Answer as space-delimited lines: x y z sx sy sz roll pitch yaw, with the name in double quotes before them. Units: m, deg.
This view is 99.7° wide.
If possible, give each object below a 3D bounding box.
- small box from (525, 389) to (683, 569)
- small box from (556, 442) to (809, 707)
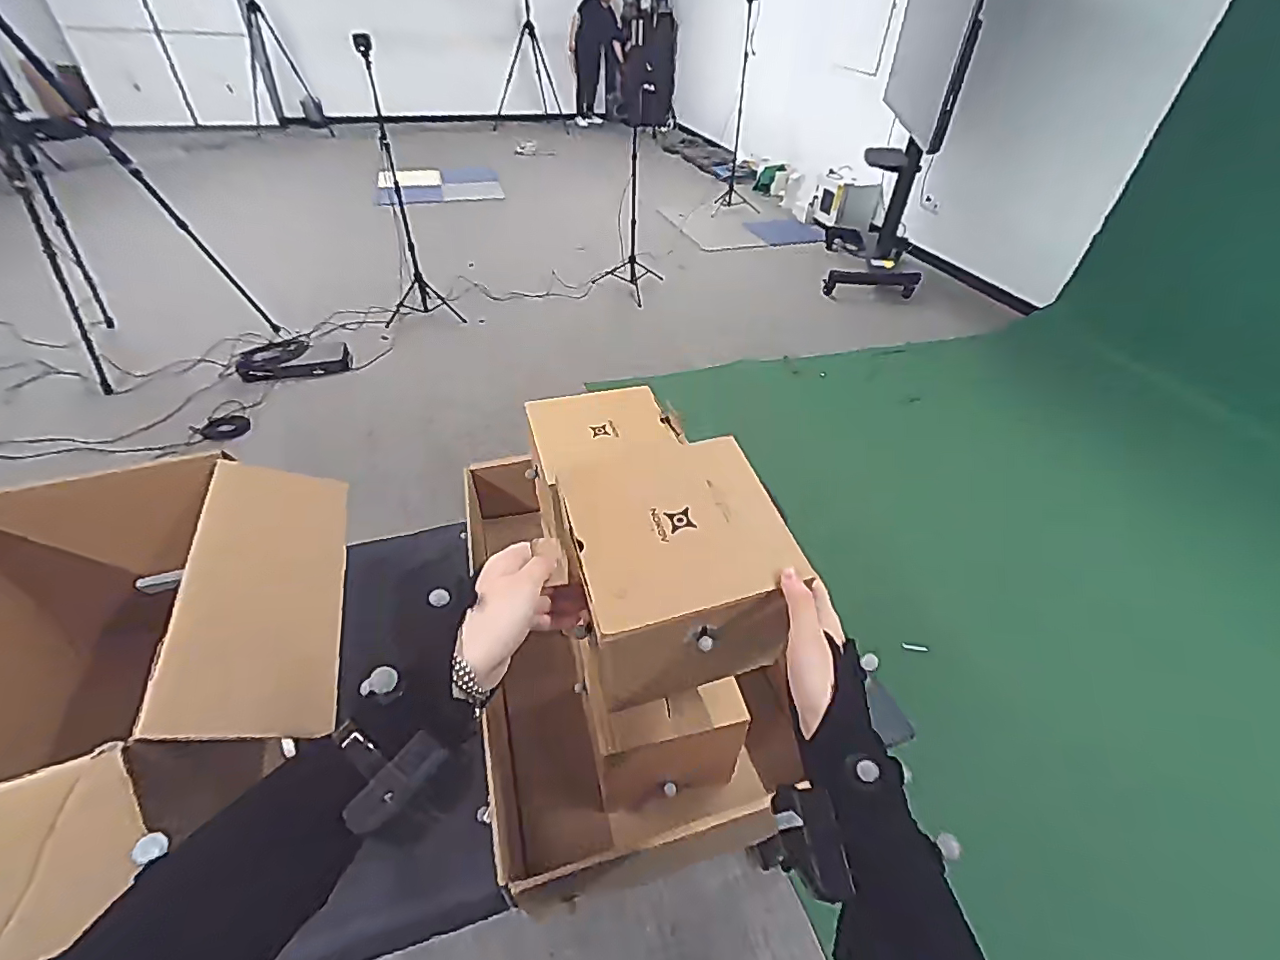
"small box" -0.049 0.000 0.736 0.179 0.176 0.168 -10 46 -15
"small box" 0.029 0.092 0.516 0.179 0.176 0.168 -12 51 -12
